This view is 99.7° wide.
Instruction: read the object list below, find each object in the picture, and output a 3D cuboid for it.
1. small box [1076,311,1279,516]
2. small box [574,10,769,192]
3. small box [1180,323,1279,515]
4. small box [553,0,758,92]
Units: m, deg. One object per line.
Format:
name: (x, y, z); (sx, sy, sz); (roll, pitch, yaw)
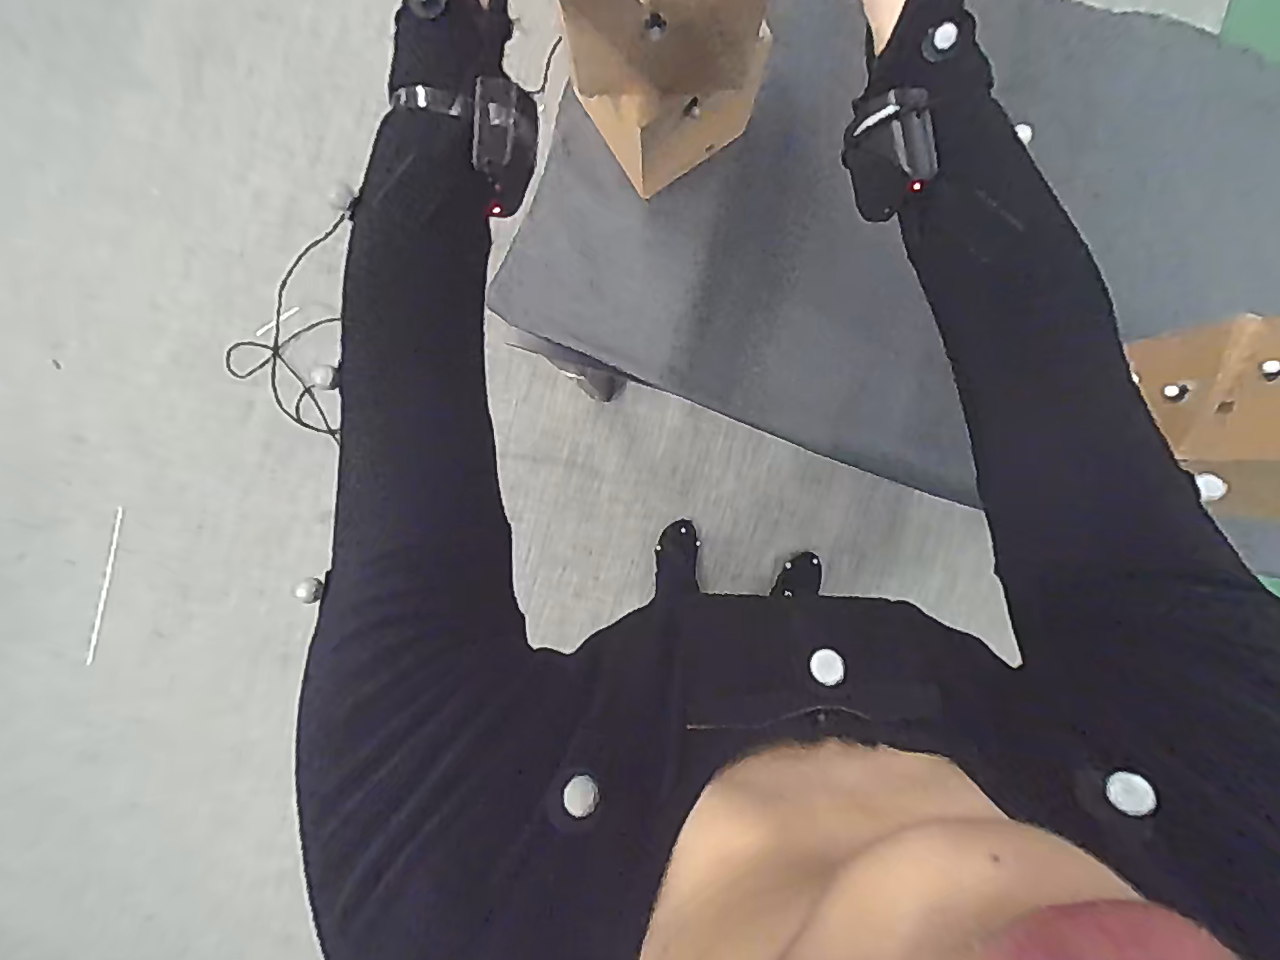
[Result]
small box: (0.663, -0.067, 0.625); (0.168, 0.176, 0.179); (18, 93, 2)
small box: (0.022, -0.489, 0.637); (0.168, 0.176, 0.179); (-33, 91, 3)
small box: (0.651, -0.049, 0.463); (0.179, 0.176, 0.168); (28, 92, 3)
small box: (0.014, -0.477, 0.473); (0.179, 0.176, 0.168); (-1, 93, 3)
